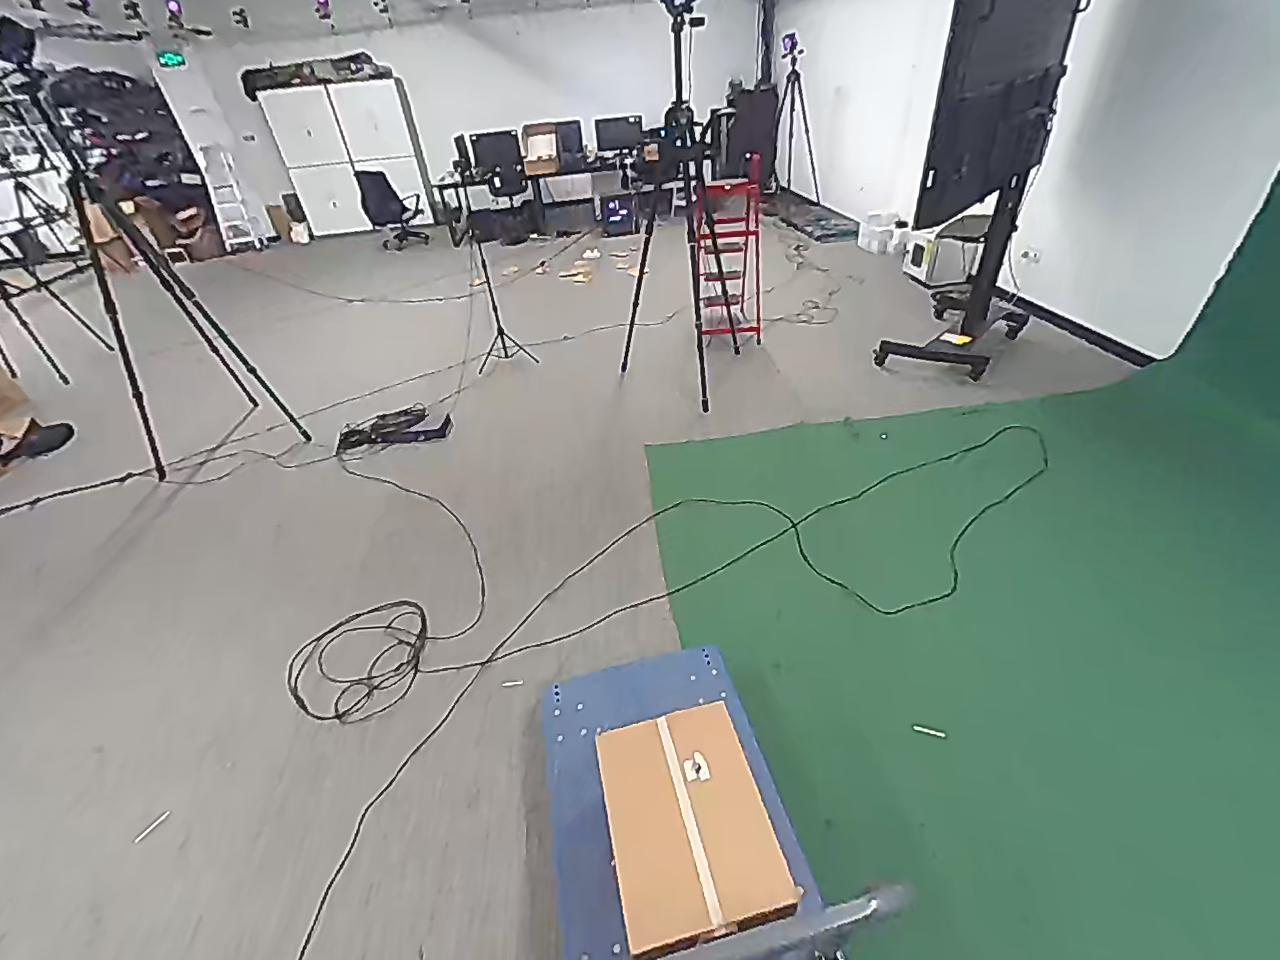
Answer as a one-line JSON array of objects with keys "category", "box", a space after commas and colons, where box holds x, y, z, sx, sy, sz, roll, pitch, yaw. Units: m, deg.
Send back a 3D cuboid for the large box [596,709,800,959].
[{"category": "large box", "box": [0.108, 0.797, 1.176, 0.320, 0.320, 0.408, -11, 35, -8]}]
